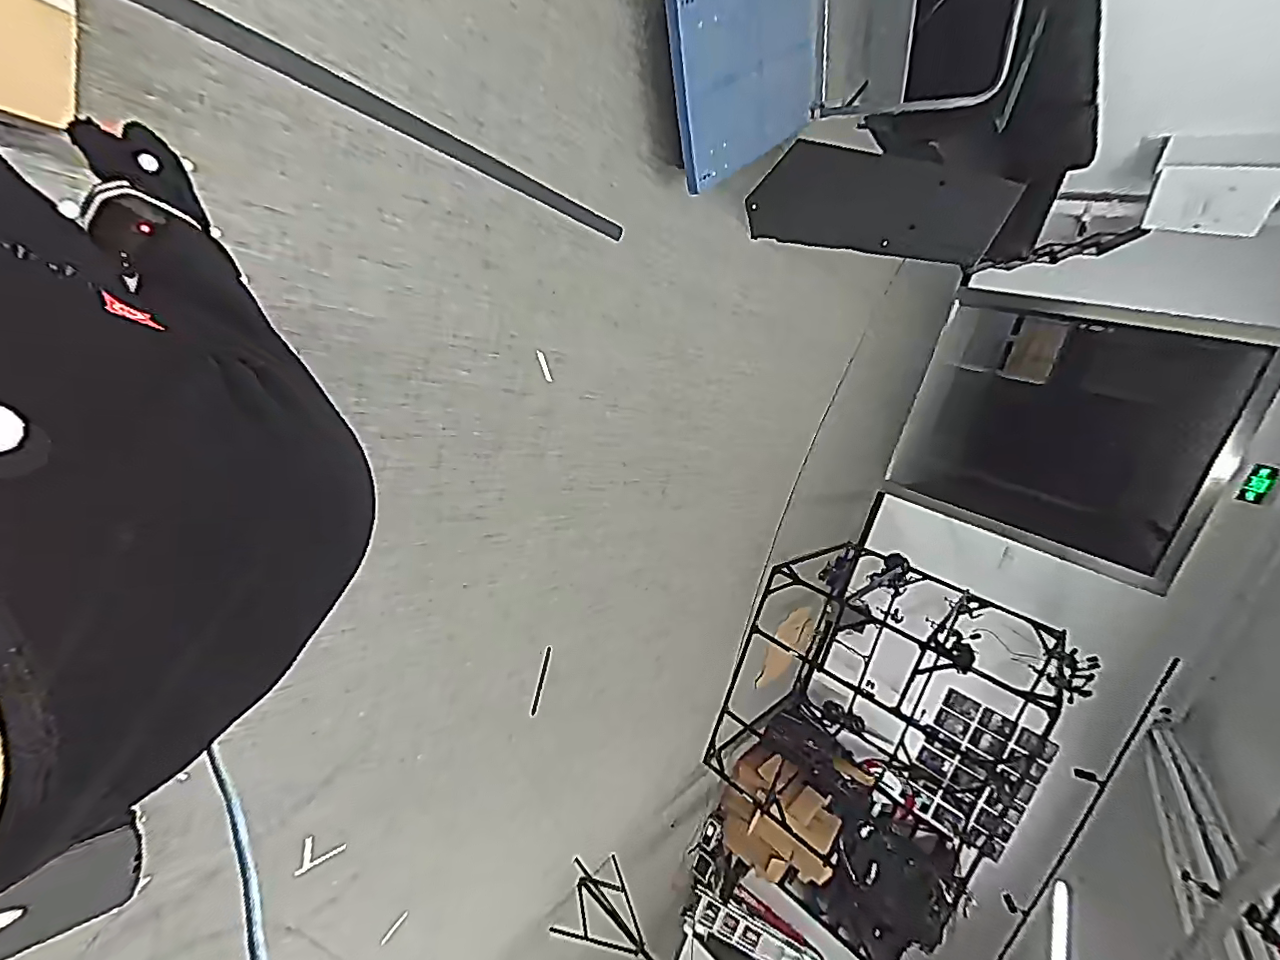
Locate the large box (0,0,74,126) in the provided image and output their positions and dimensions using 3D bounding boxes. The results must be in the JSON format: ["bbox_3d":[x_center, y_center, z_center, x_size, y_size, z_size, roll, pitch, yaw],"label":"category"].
[{"bbox_3d":[-1.000,-0.686,0.654,0.408,0.320,0.320,-4,115,-53],"label":"large box"}]
